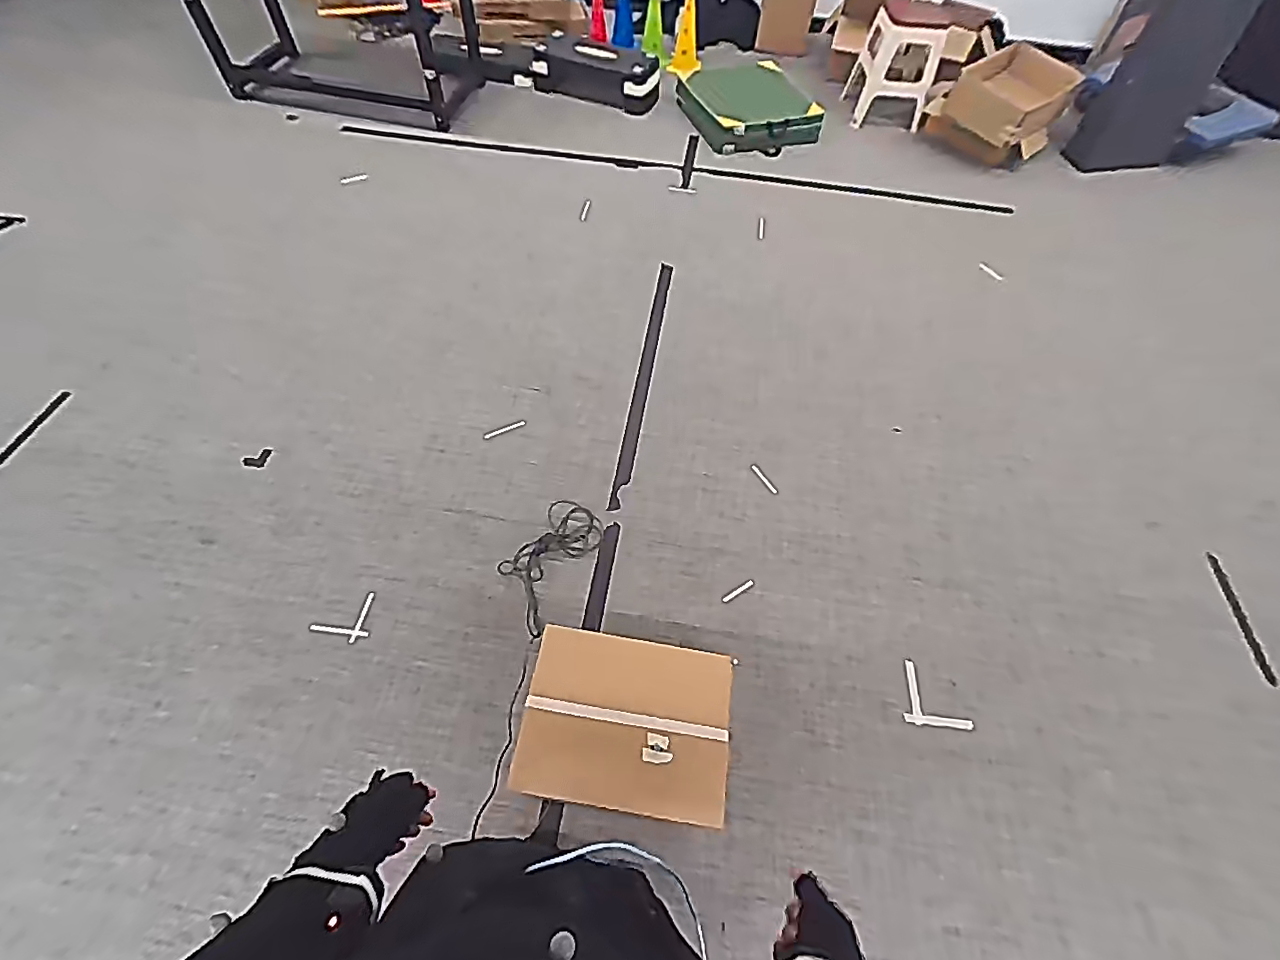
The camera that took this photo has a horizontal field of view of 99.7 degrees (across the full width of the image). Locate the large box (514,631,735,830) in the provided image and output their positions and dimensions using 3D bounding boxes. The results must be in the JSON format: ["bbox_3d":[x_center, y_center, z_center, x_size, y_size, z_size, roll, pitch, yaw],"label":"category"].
[{"bbox_3d":[-0.031,0.560,1.194,0.408,0.320,0.320,11,58,1],"label":"large box"}]
